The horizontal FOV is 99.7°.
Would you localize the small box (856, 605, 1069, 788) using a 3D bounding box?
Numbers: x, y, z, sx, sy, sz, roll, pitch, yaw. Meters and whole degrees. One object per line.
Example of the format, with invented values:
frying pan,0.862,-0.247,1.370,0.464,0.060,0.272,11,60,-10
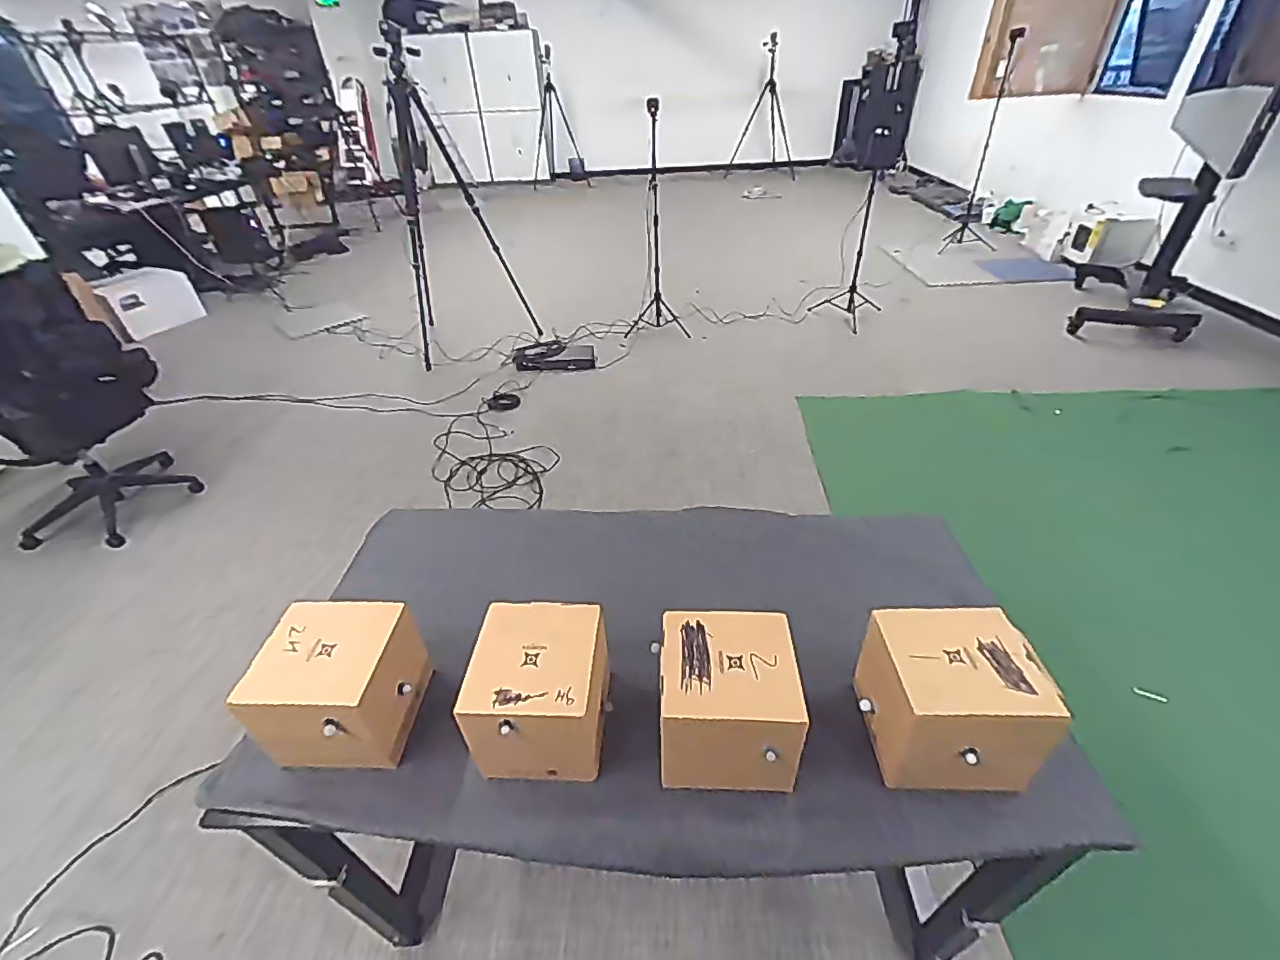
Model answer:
small box,0.409,0.288,0.724,0.179,0.176,0.168,-1,34,5
